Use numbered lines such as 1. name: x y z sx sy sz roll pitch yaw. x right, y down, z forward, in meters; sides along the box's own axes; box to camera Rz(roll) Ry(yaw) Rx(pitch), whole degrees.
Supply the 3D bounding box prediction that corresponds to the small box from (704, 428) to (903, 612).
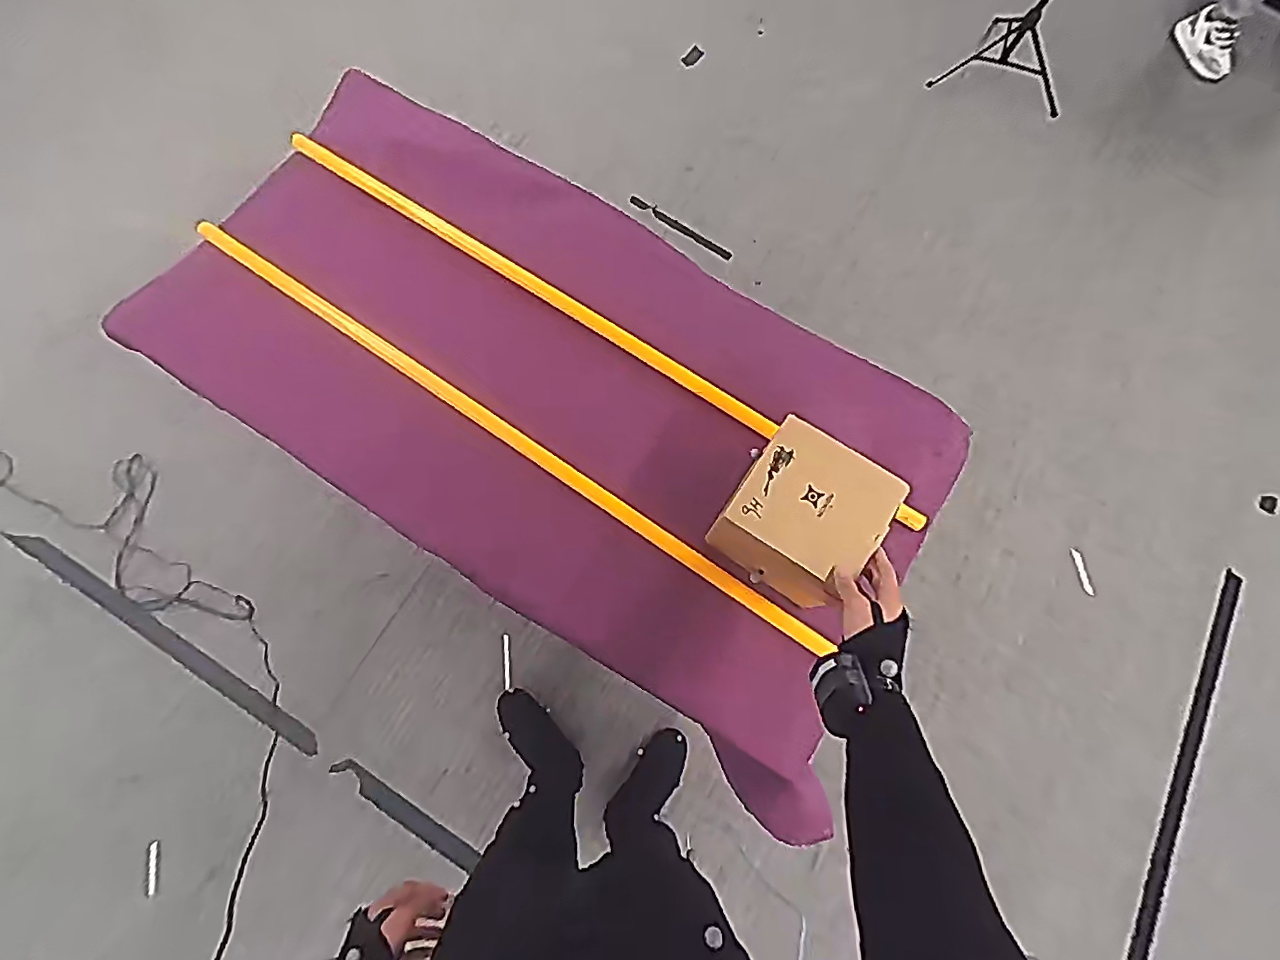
1. small box: 0.209 0.063 0.739 0.179 0.176 0.168 34 76 8
